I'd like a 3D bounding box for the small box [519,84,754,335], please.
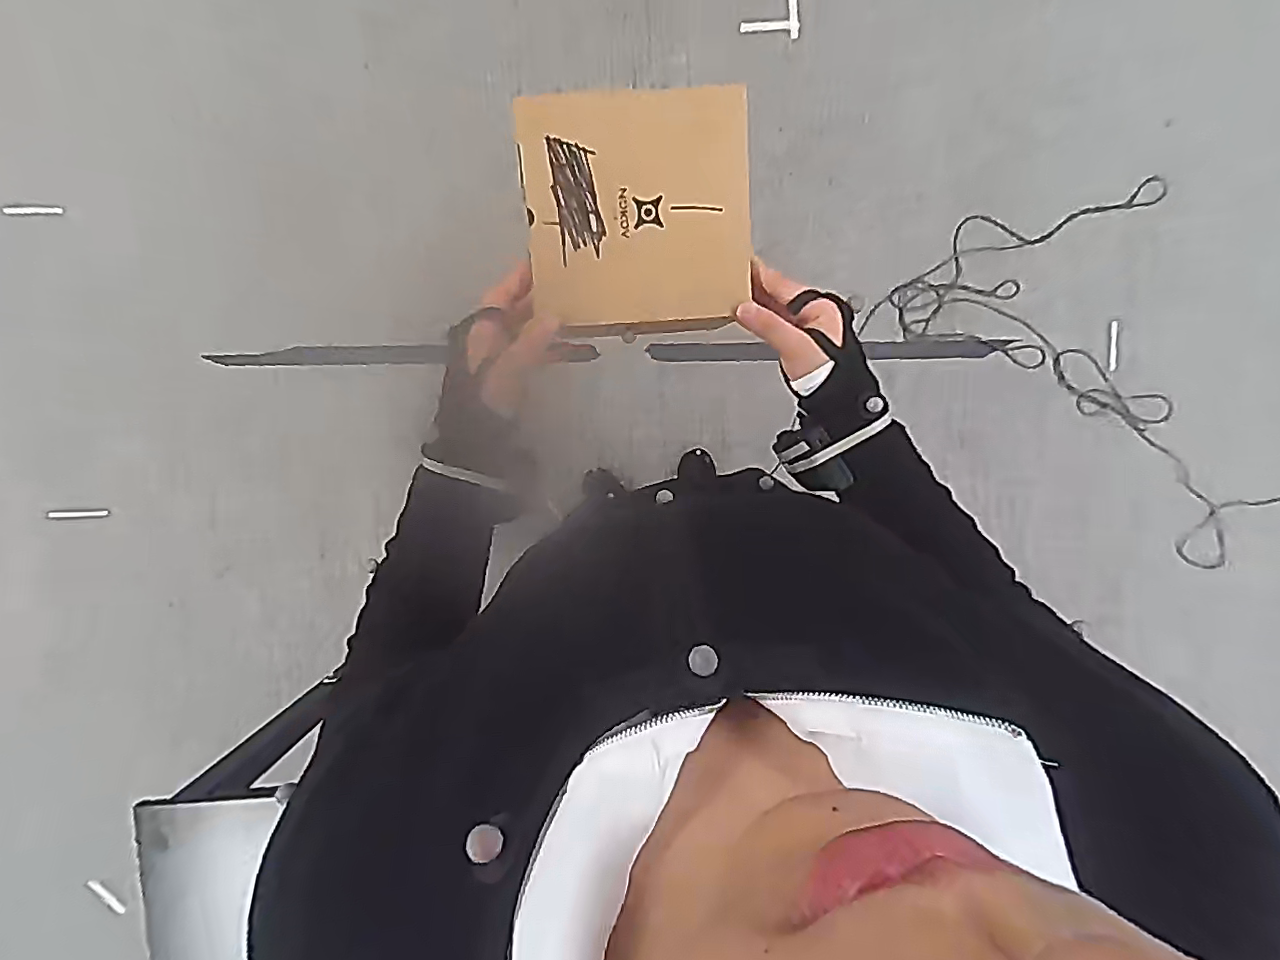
[{"bbox_3d":[-0.002,-0.226,0.495,0.179,0.176,0.168,-4,102,-2],"label":"small box"}]
